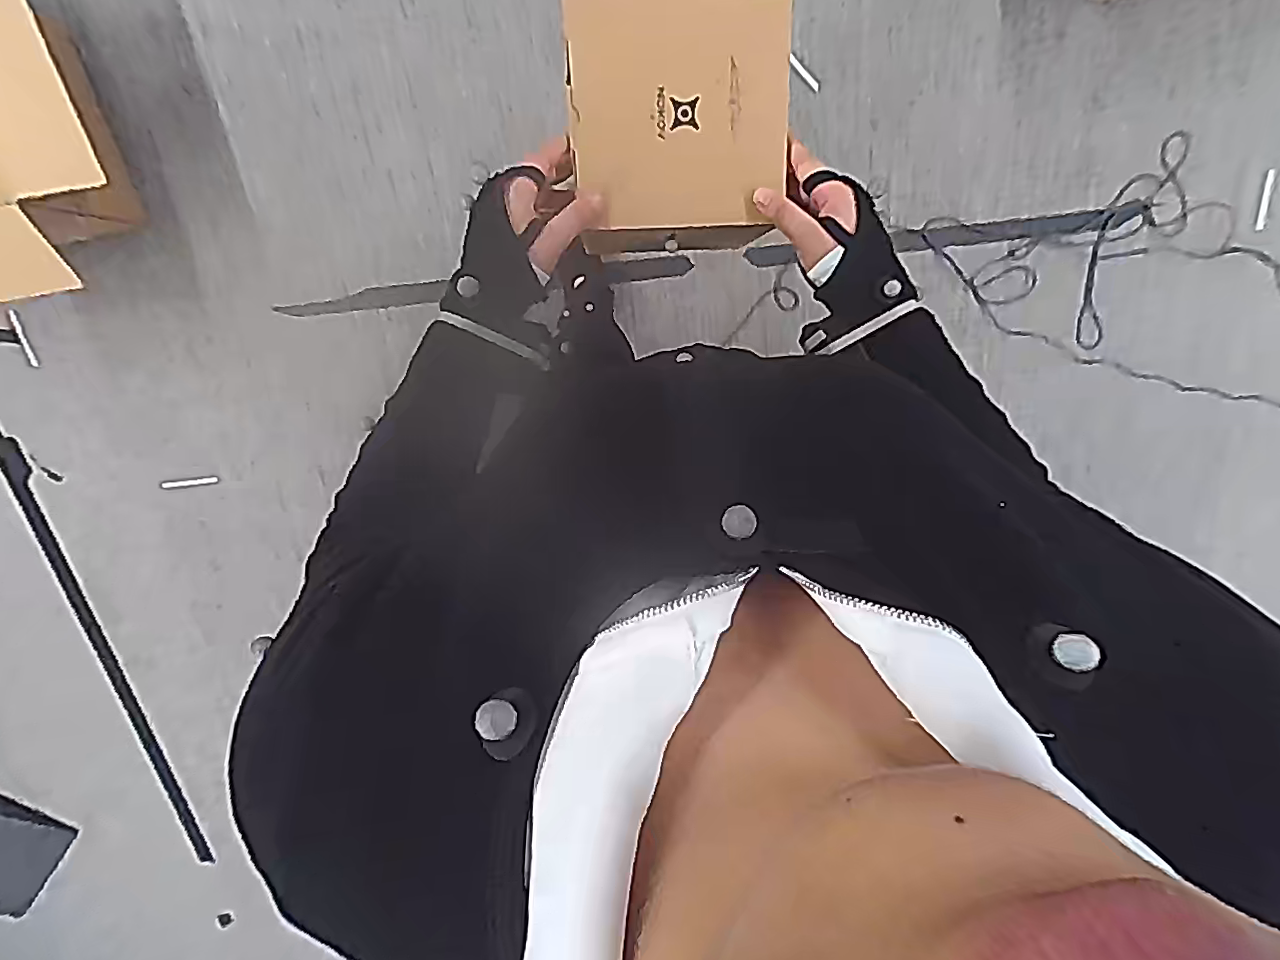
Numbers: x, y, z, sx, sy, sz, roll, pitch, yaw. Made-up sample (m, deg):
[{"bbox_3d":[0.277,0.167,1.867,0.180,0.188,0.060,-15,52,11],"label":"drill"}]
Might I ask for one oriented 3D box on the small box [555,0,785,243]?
[{"bbox_3d":[0.023,-0.321,0.501,0.179,0.176,0.168,-4,107,-3],"label":"small box"}]
